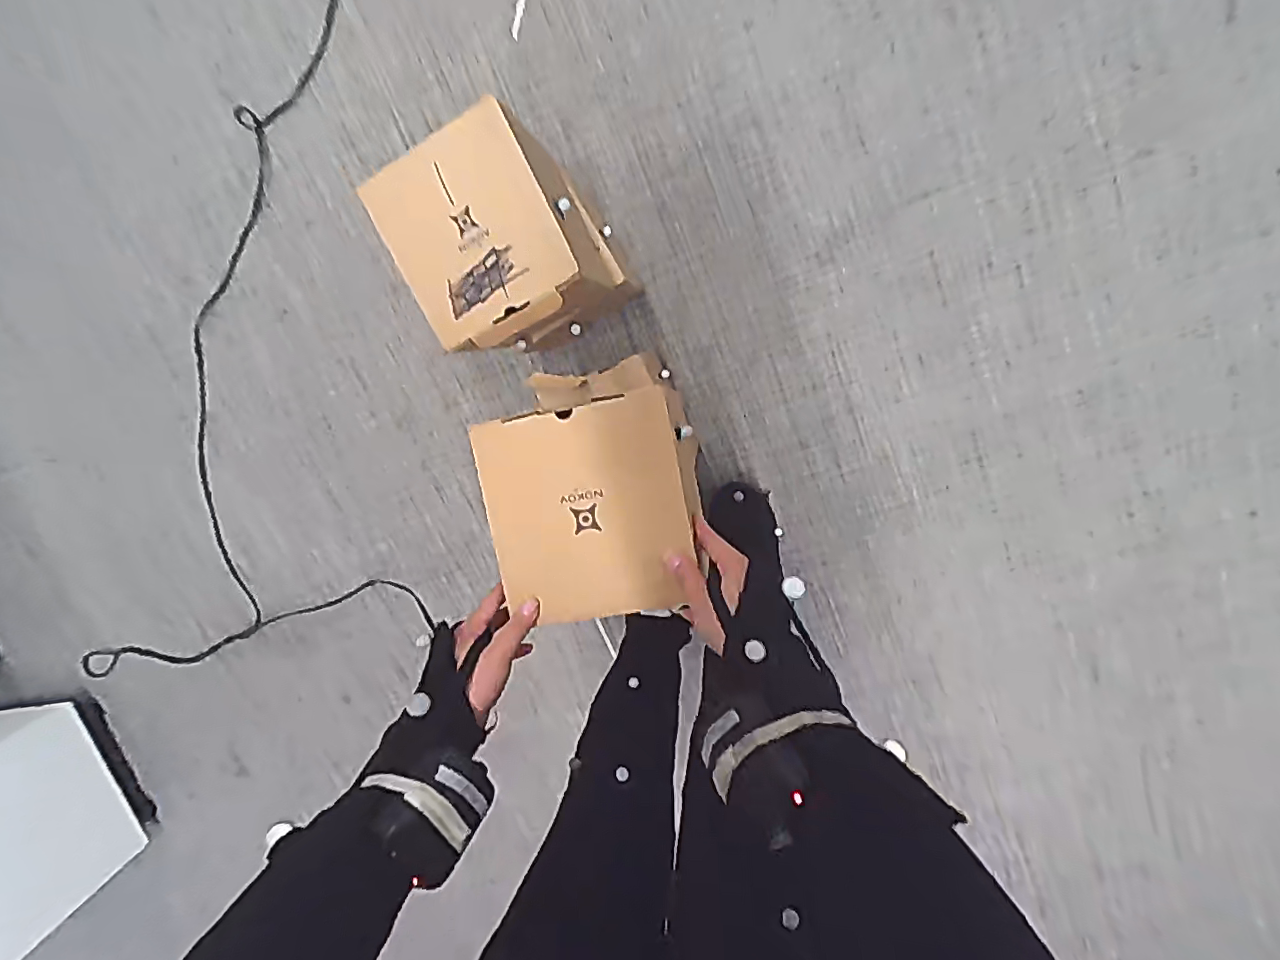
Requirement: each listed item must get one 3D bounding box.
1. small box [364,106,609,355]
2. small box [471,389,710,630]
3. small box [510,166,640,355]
[{"bbox_3d":[-0.152,-0.257,0.602,0.168,0.176,0.179,-25,99,13],"label":"small box"},{"bbox_3d":[-0.030,0.019,0.509,0.168,0.176,0.179,-11,94,10],"label":"small box"},{"bbox_3d":[-0.119,-0.292,0.761,0.179,0.176,0.168,-30,98,15],"label":"small box"}]
